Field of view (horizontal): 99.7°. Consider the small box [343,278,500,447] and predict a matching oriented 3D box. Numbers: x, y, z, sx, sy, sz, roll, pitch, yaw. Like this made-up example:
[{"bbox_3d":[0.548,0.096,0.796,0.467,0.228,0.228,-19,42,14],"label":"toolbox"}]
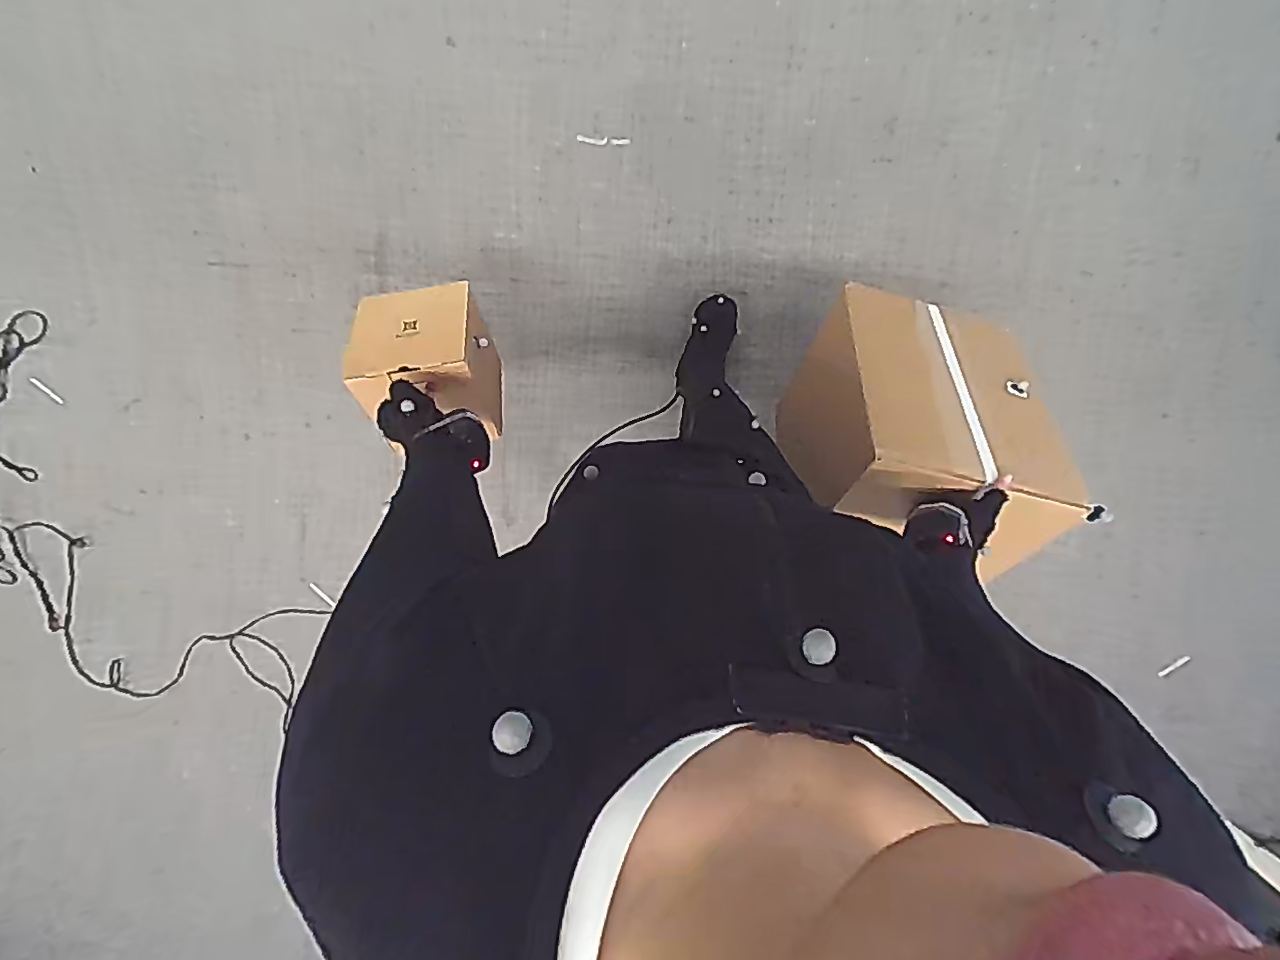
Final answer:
[{"bbox_3d":[-0.320,-0.177,0.831,0.168,0.176,0.179,-10,56,-1],"label":"small box"}]
